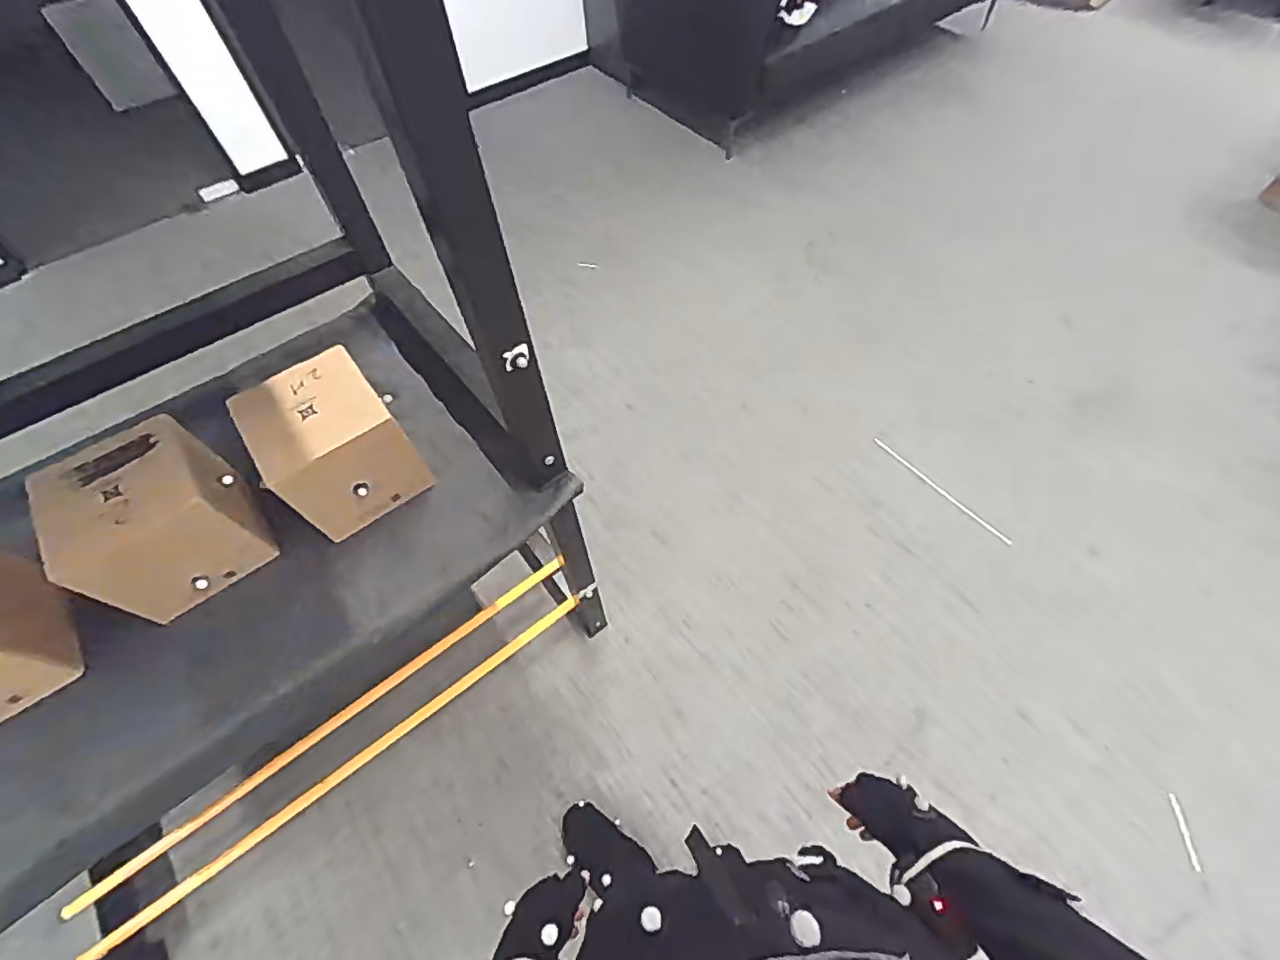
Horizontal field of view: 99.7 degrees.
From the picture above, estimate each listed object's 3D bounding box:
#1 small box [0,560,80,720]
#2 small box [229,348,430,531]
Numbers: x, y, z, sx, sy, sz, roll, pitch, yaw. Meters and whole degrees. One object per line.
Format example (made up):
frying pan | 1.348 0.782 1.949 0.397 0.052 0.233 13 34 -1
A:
small box | -0.837 0.199 0.648 0.168 0.176 0.179 -34 63 -18
small box | -0.434 -0.048 0.781 0.168 0.176 0.179 -34 63 -18
